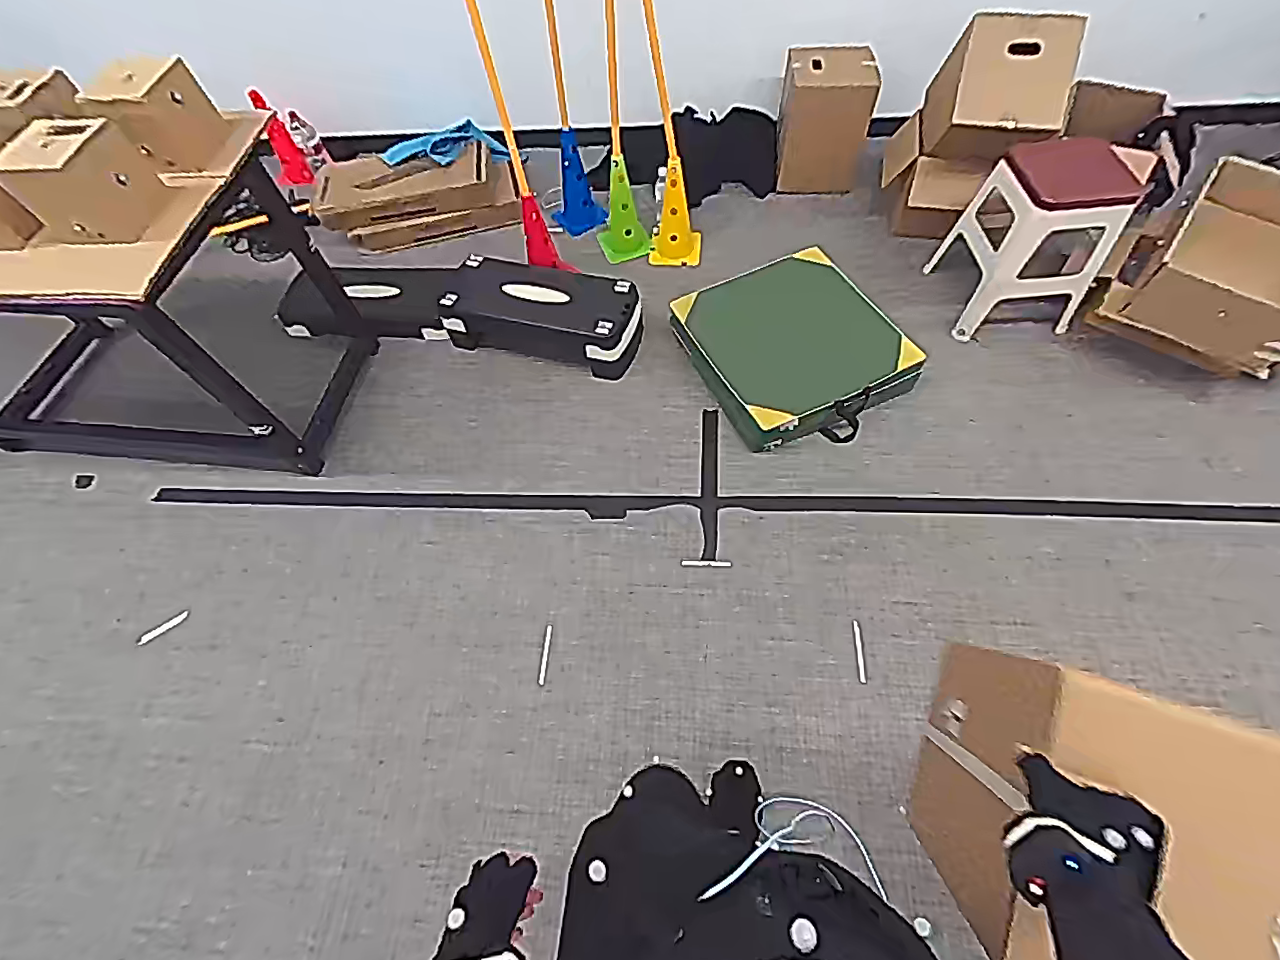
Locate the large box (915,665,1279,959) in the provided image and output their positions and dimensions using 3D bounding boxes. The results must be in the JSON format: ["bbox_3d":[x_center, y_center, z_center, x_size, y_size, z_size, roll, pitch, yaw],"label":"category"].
[{"bbox_3d":[0.599,0.459,0.695,0.320,0.408,0.320,20,82,20],"label":"large box"}]
